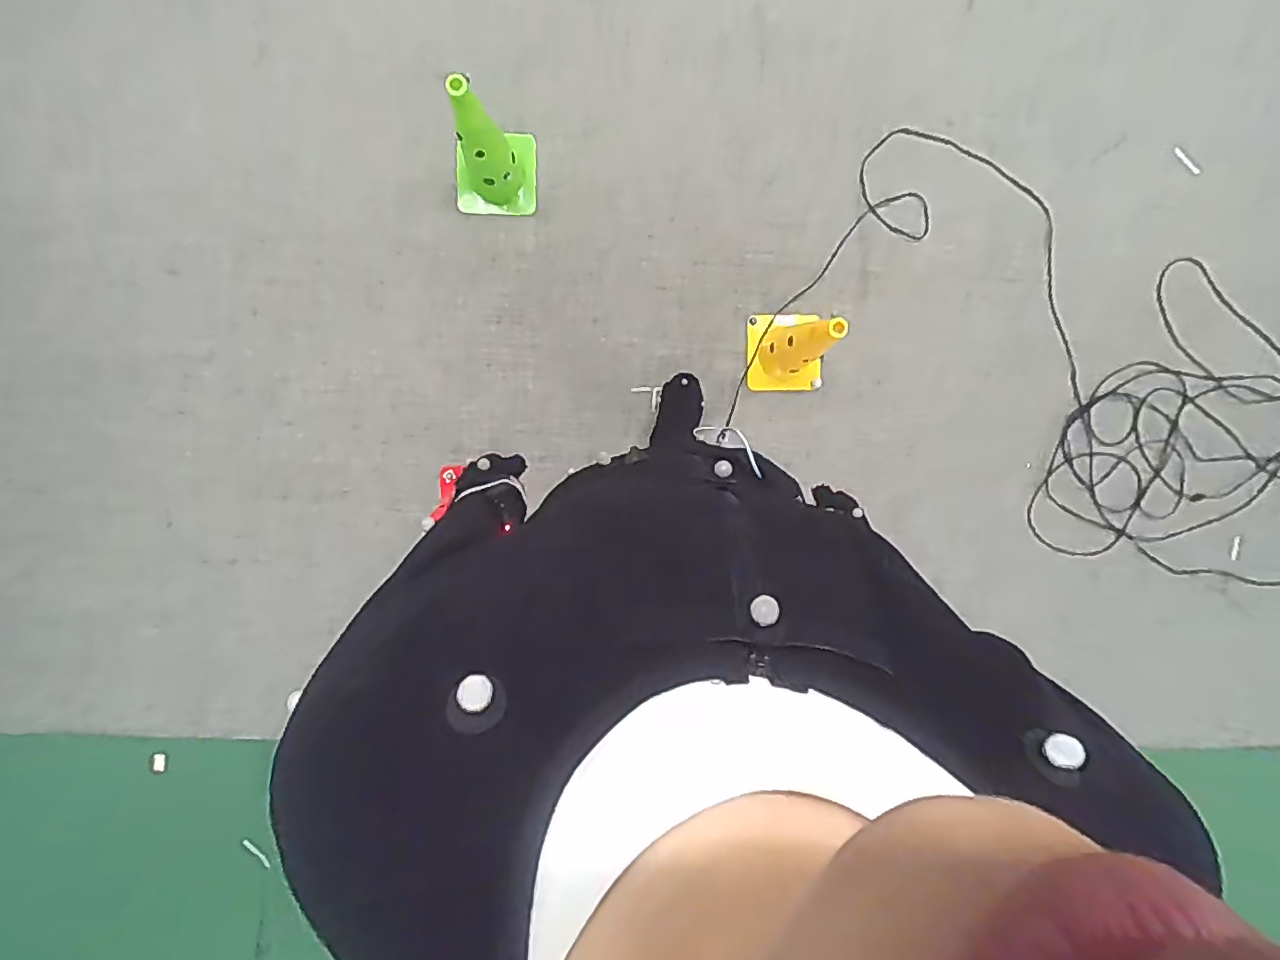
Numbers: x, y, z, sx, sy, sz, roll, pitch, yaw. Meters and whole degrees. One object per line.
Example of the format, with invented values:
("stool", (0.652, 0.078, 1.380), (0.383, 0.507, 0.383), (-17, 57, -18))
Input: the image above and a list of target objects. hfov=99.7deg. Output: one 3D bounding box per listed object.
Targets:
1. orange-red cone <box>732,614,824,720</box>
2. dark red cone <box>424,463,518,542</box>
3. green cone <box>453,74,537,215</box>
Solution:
("orange-red cone", (0.369, 0.488, 1.347), (0.198, 0.360, 0.199), (2, 94, -4))
("dark red cone", (-0.419, 0.079, 1.255), (0.202, 0.394, 0.201), (-4, 97, -2))
("green cone", (-0.354, -0.766, 1.206), (0.202, 0.368, 0.200), (0, 96, -4))
